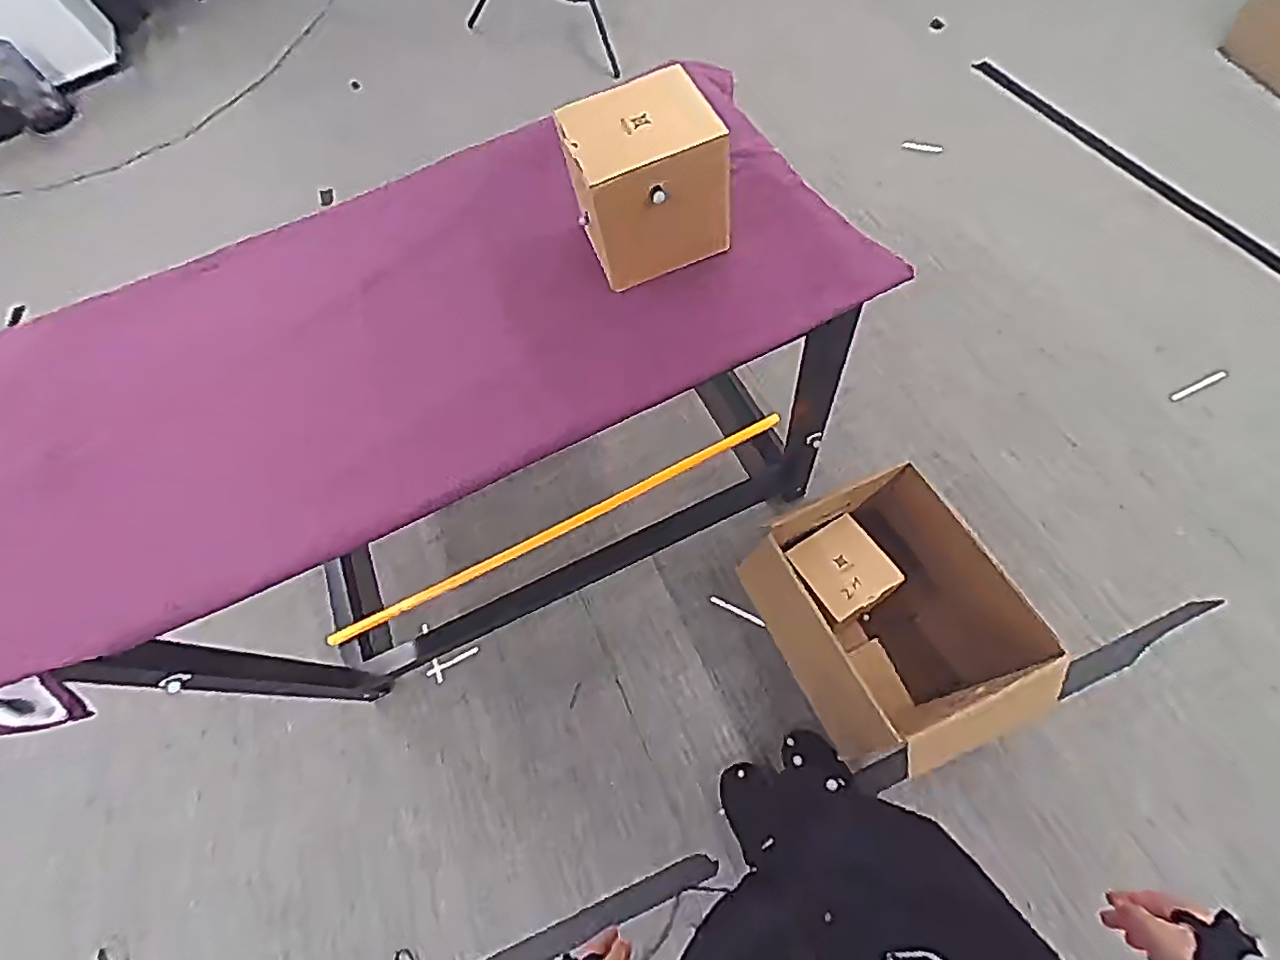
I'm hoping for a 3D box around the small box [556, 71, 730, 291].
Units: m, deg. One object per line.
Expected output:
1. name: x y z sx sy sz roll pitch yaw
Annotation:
1. small box: 0.009 -0.393 0.728 0.179 0.176 0.168 -21 63 0
